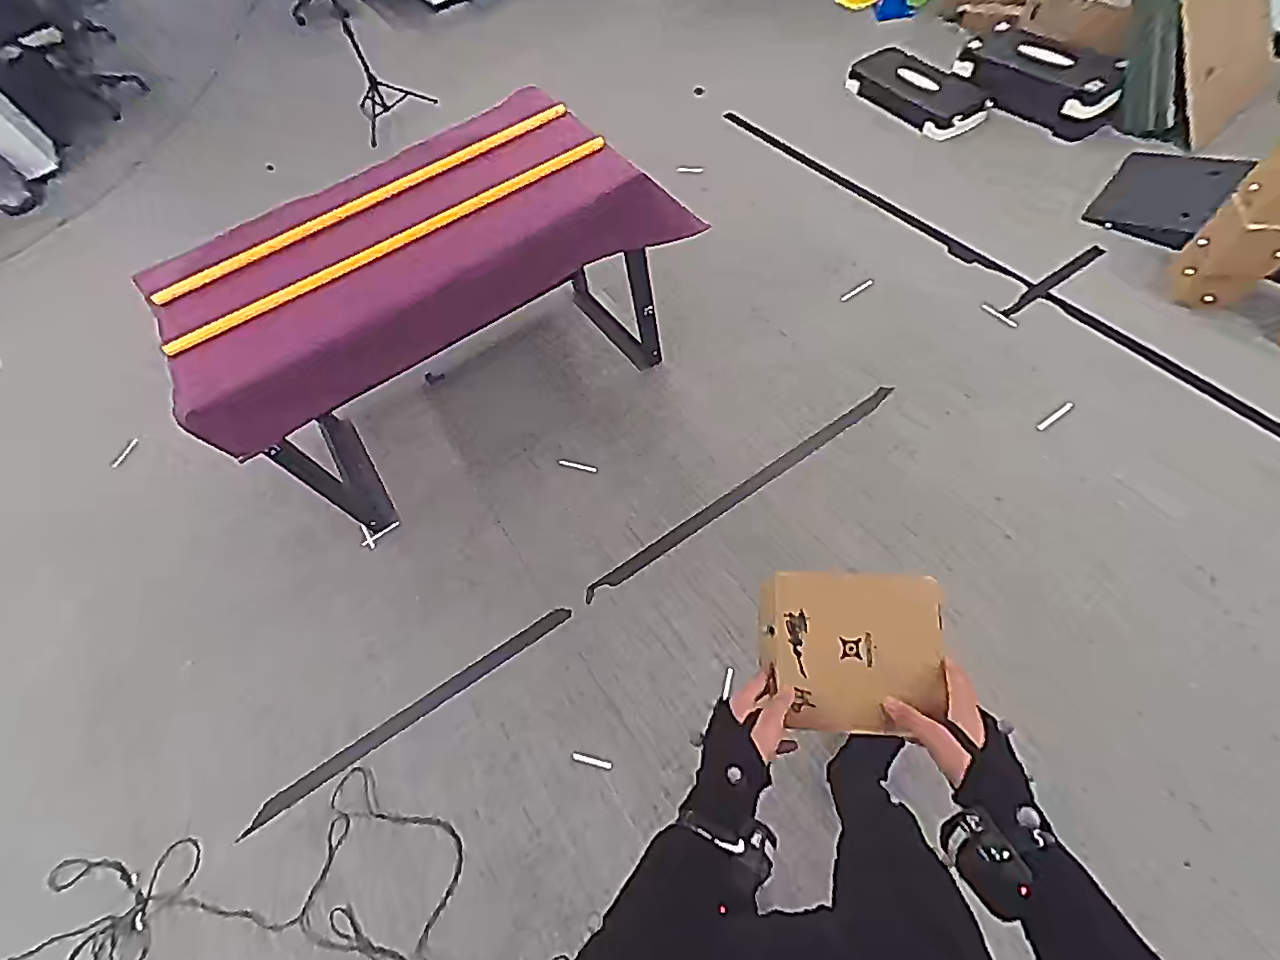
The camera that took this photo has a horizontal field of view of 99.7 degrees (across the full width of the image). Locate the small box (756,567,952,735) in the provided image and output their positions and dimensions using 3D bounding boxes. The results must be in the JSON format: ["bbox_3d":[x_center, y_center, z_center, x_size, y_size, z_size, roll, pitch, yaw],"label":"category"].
[{"bbox_3d":[0.239,0.198,0.650,0.179,0.176,0.168,1,74,5],"label":"small box"}]
